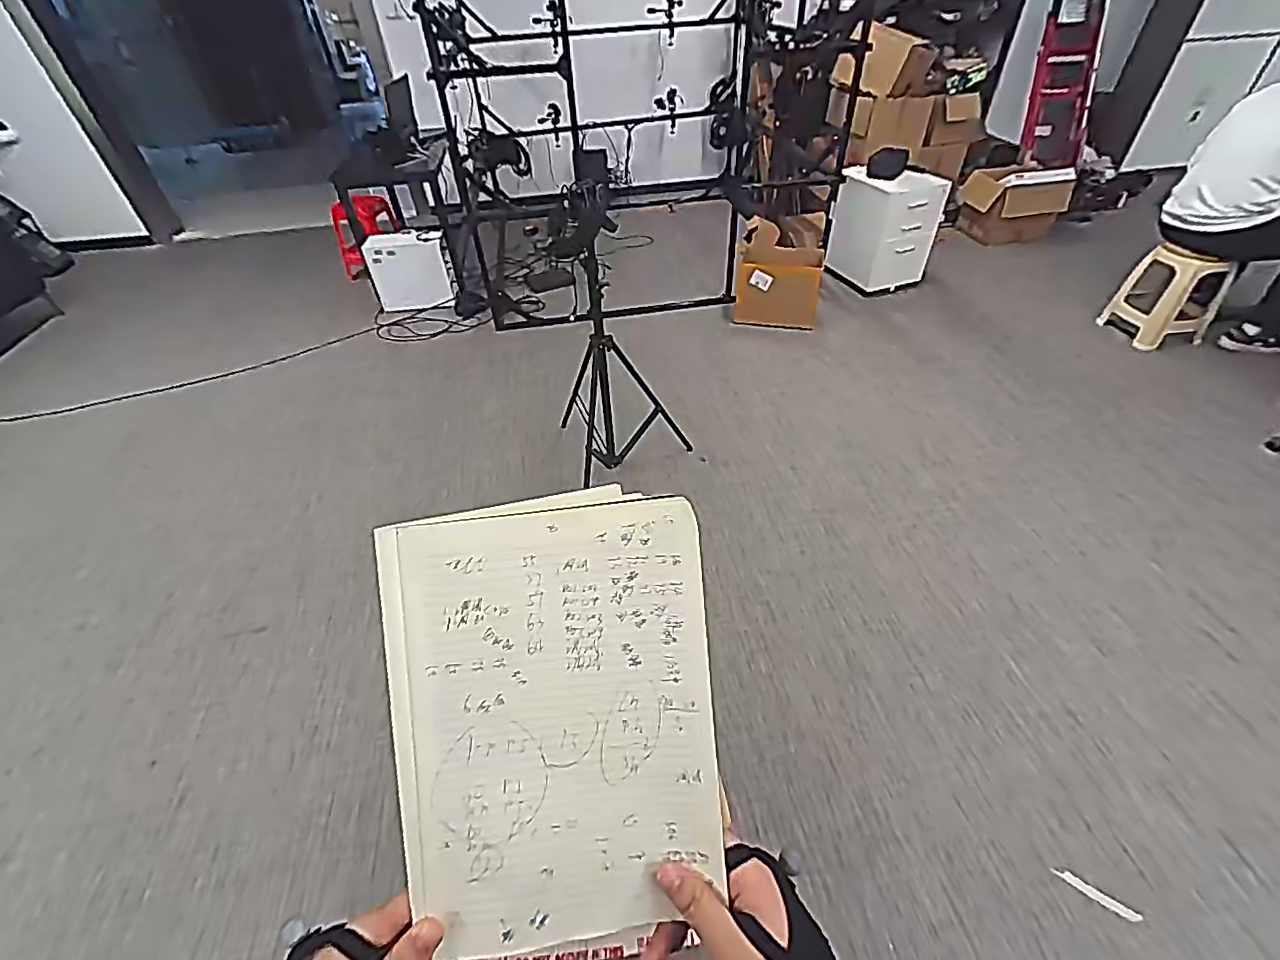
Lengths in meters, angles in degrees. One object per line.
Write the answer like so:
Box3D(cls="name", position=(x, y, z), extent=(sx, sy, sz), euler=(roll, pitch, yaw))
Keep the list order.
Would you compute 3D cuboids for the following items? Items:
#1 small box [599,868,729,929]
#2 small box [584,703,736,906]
Box3D(cls="small box", position=(0.021, 0.551, 0.821), extent=(0.179, 0.176, 0.168), euler=(-9, 44, -8))
Box3D(cls="small box", position=(0.016, 0.426, 0.714), extent=(0.168, 0.176, 0.179), euler=(-6, 44, -7))
